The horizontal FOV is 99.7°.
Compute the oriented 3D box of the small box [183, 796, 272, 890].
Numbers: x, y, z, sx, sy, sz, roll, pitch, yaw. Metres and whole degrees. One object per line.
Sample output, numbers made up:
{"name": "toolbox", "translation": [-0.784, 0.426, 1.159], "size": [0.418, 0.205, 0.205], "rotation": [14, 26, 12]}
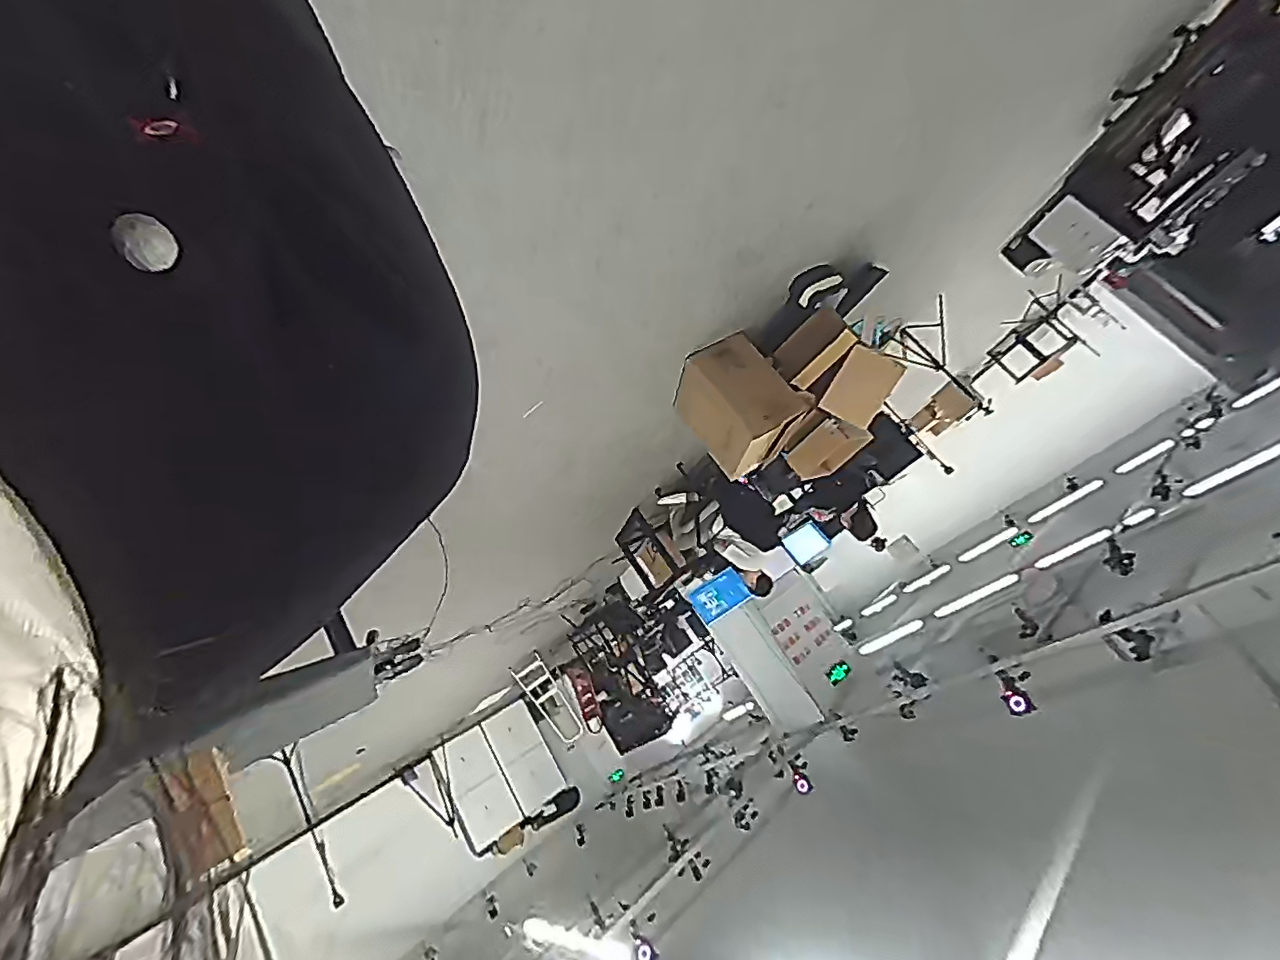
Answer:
{"name": "small box", "translation": [-1.264, 1.109, 1.656], "size": [0.179, 0.176, 0.168], "rotation": [-21, 157, -37]}

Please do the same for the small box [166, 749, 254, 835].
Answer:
{"name": "small box", "translation": [-1.359, 0.987, 1.709], "size": [0.179, 0.176, 0.168], "rotation": [-23, 157, -32]}
